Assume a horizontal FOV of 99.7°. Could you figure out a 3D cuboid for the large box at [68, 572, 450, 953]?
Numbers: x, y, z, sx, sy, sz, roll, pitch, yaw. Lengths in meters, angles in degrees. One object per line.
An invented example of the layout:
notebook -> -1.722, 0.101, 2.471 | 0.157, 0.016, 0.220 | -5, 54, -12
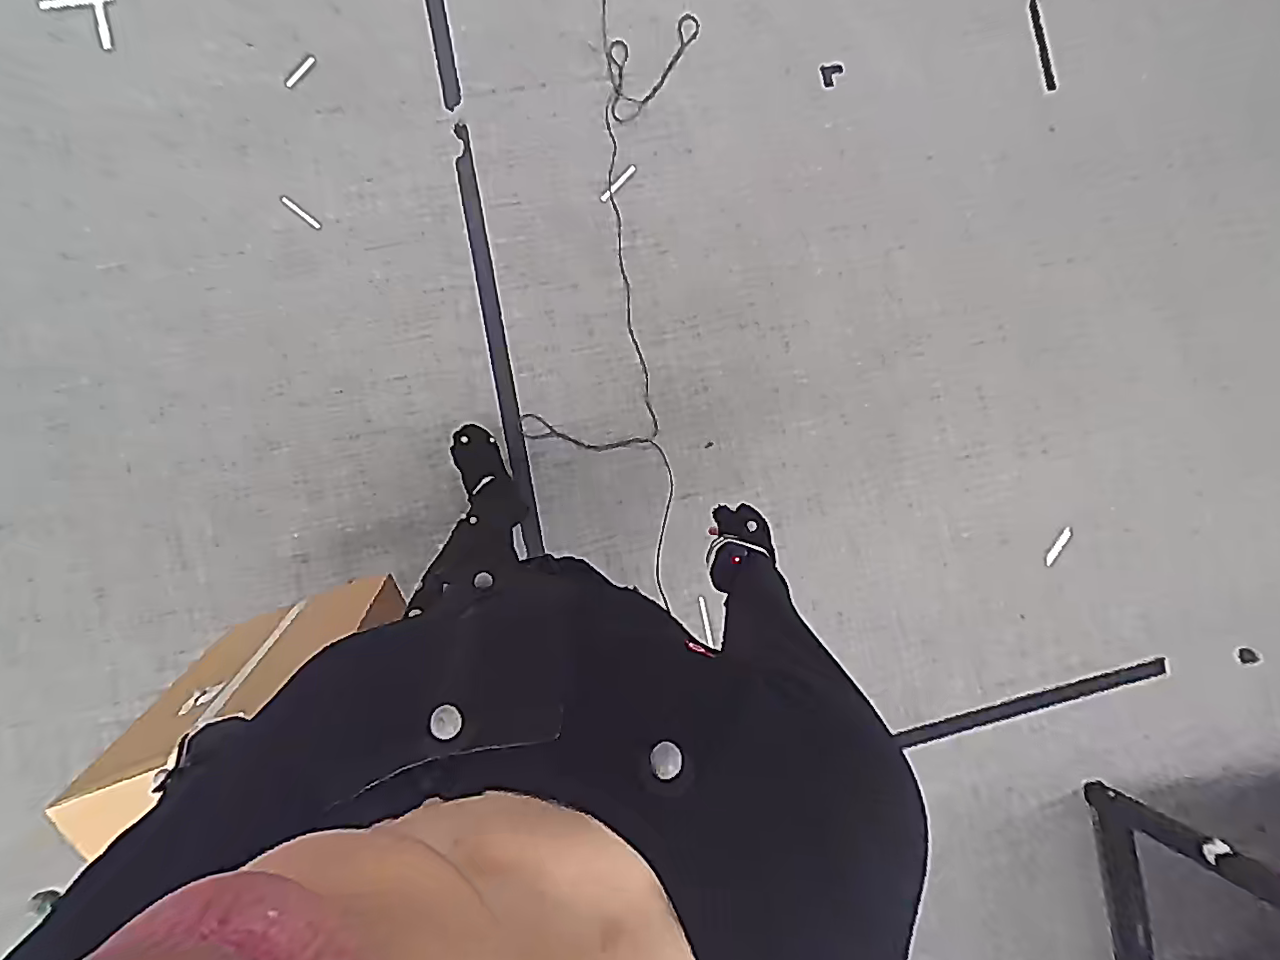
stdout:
large box -> -0.539, 0.413, 0.889 | 0.320, 0.408, 0.320 | -21, 108, -5
